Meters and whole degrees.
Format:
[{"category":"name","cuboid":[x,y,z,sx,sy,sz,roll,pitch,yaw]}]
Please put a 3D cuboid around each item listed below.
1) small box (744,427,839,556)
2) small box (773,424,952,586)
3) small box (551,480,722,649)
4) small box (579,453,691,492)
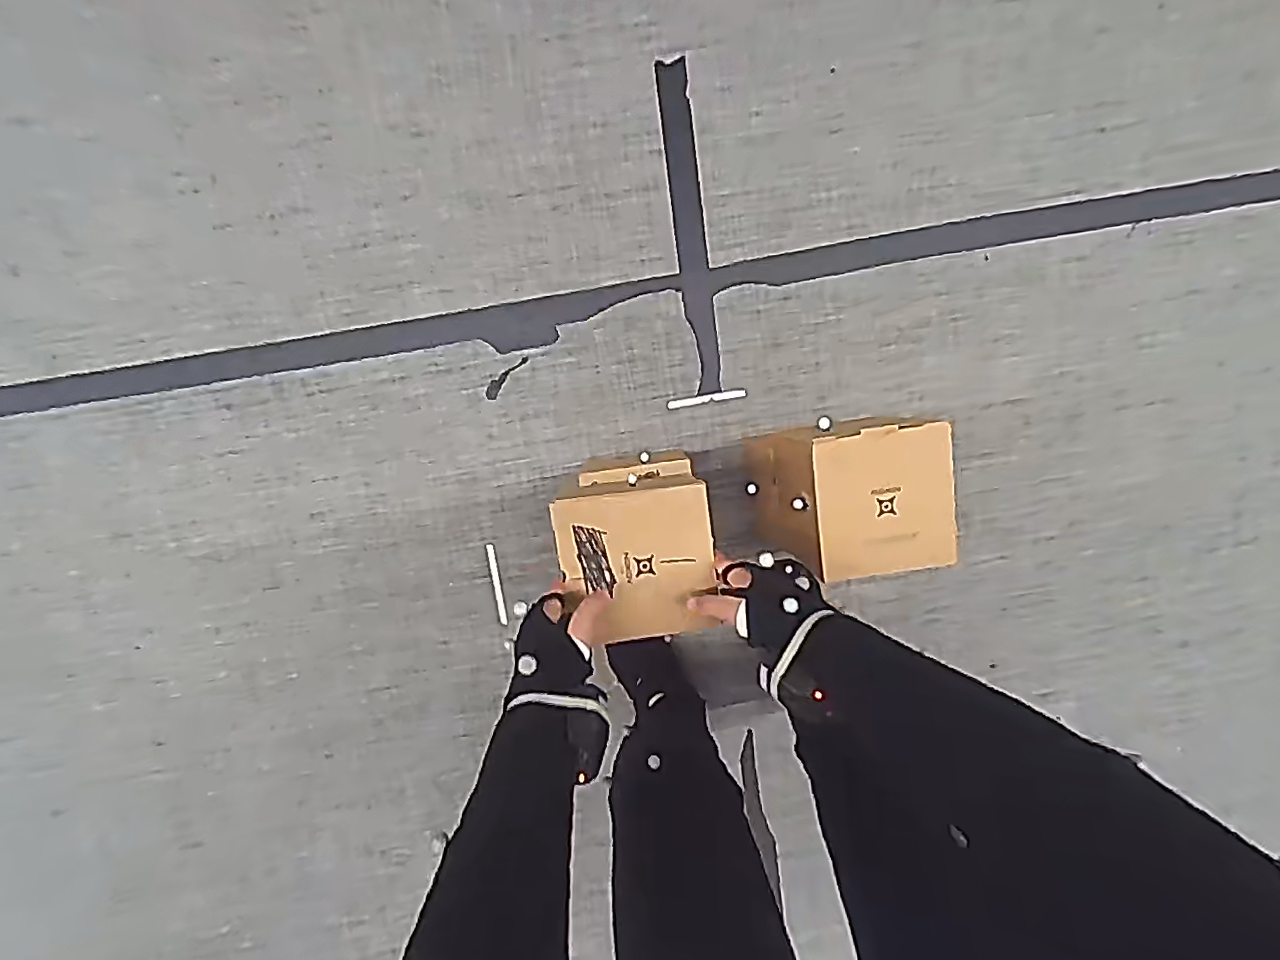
[{"category":"small box","cuboid":[0.283,0.009,0.883,0.179,0.176,0.168,-10,98,-1]},{"category":"small box","cuboid":[0.284,0.021,0.721,0.168,0.176,0.179,-8,100,-1]},{"category":"small box","cuboid":[-0.005,0.093,0.675,0.179,0.176,0.168,-7,94,-3]},{"category":"small box","cuboid":[-0.001,0.059,0.877,0.168,0.176,0.179,-7,99,0]}]
